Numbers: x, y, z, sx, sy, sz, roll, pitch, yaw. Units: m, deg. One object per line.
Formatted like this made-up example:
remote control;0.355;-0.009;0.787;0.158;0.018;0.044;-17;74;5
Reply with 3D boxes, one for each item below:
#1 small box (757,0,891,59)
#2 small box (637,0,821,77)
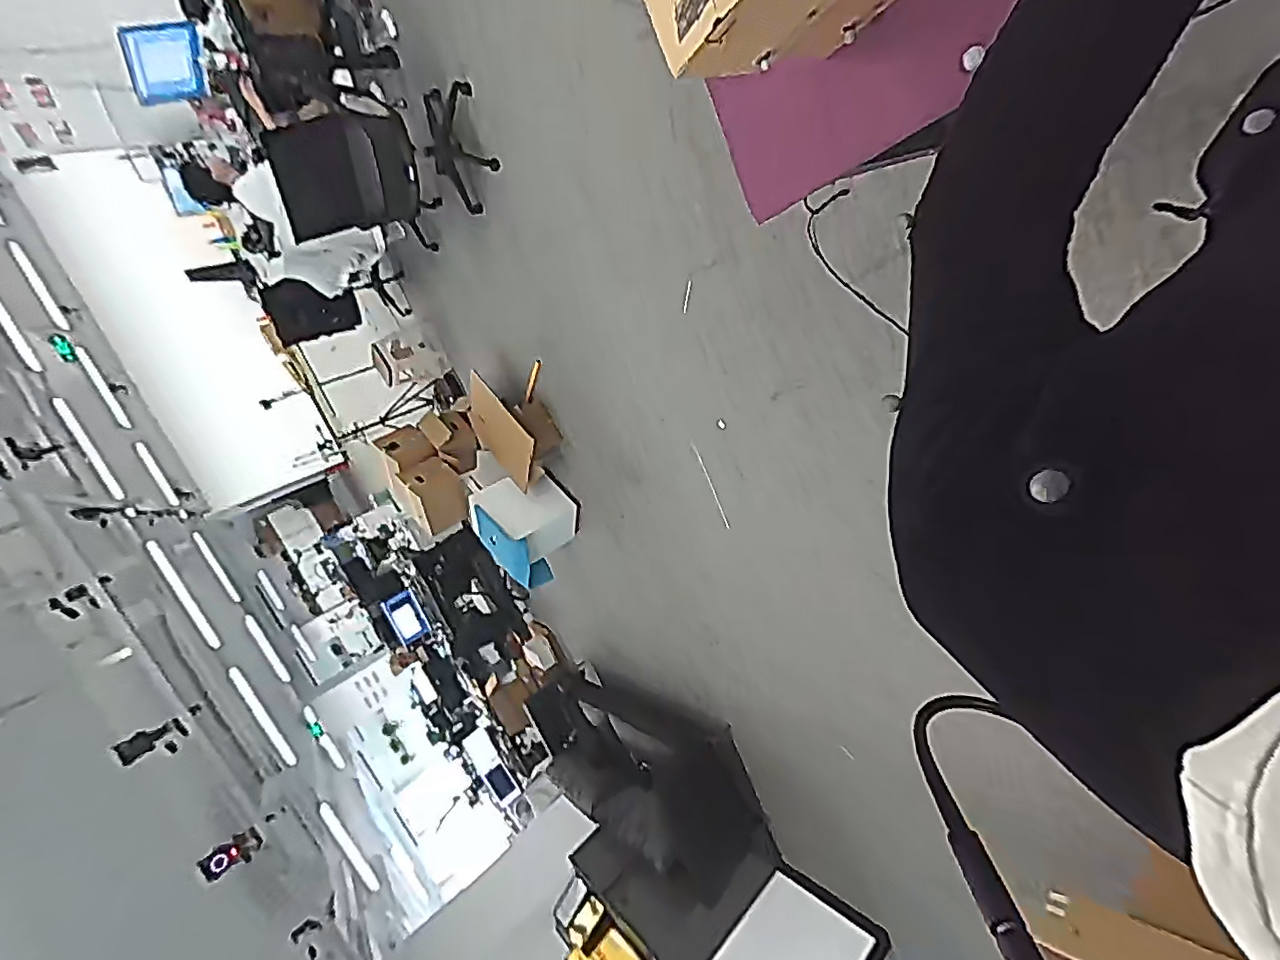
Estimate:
small box;0.219;-0.676;0.685;0.168;0.176;0.179;-7;110;56
small box;0.102;-0.596;0.603;0.168;0.176;0.179;-7;109;57
